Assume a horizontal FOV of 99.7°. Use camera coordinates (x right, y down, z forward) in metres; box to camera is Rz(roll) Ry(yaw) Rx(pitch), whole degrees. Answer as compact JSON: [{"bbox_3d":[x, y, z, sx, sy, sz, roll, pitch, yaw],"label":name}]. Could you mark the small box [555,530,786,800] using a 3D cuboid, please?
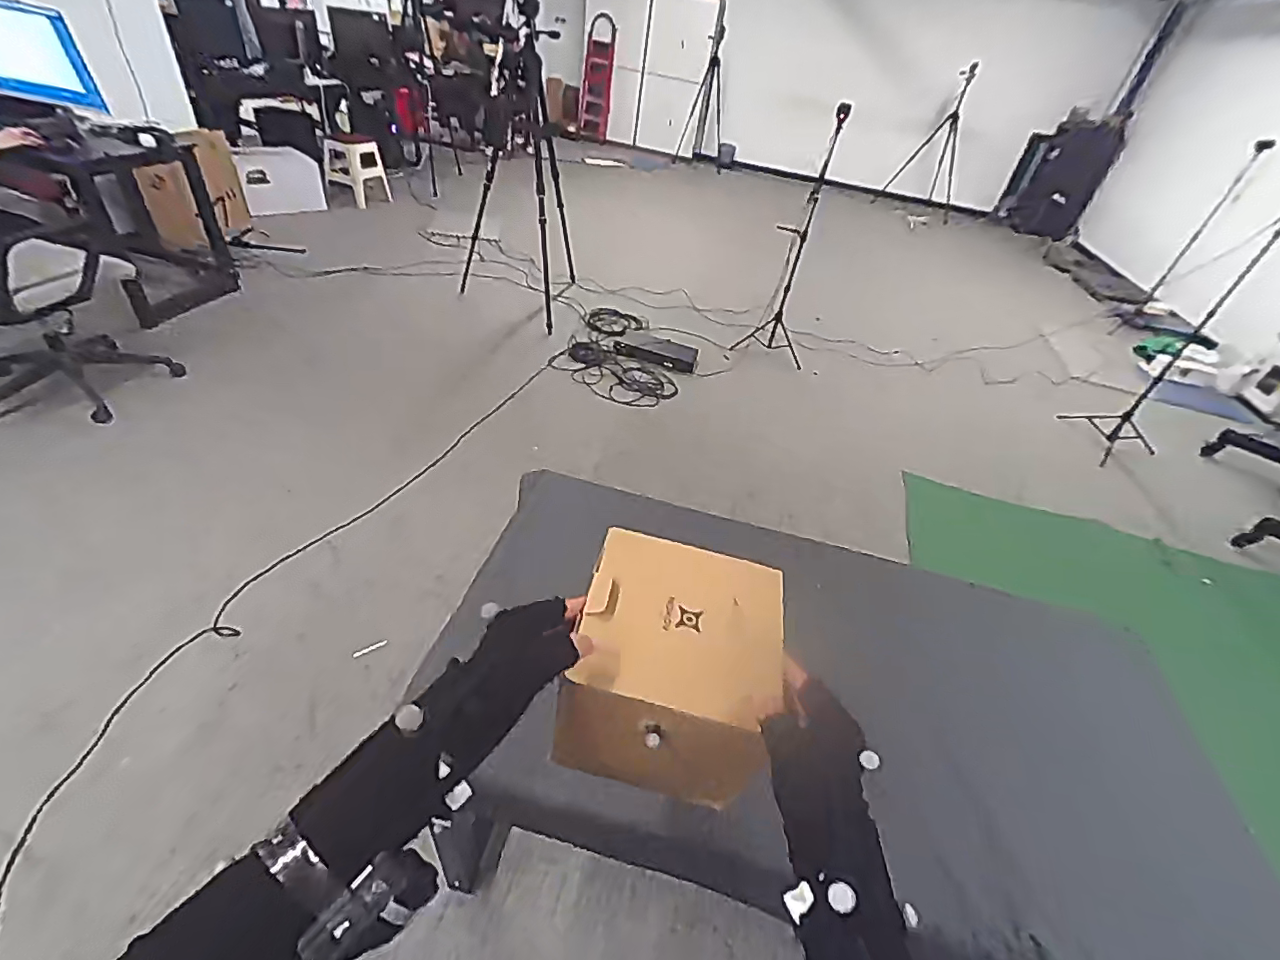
[{"bbox_3d":[0.026,0.179,0.520,0.179,0.176,0.168,15,42,0],"label":"small box"}]
